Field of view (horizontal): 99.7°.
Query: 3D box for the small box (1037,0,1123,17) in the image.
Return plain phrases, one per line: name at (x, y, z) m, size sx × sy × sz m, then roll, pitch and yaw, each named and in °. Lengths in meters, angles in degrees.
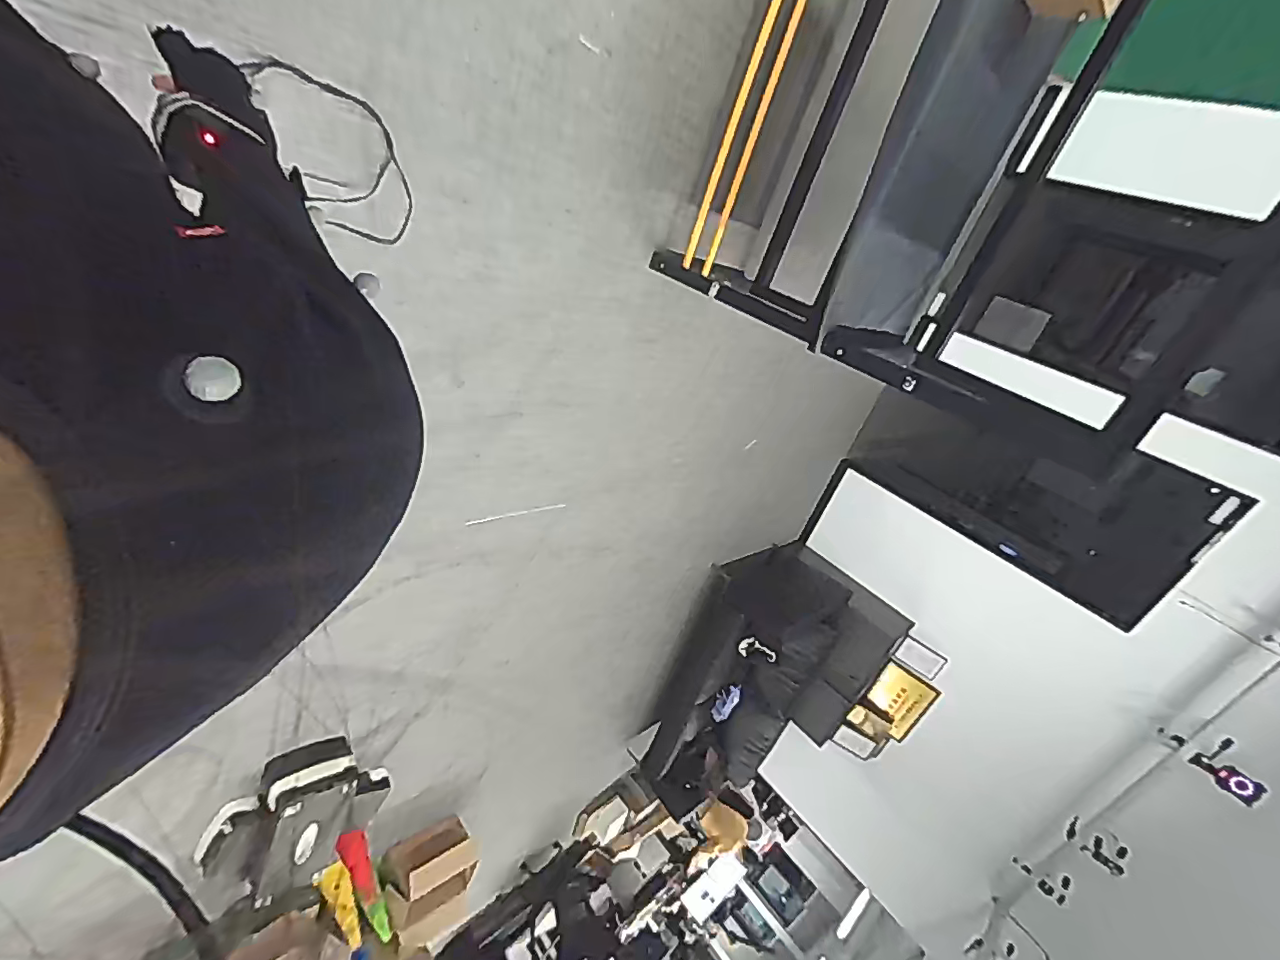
small box at (1.004, -1.166, 1.191) m, size 0.179 × 0.176 × 0.168 m, roll -12°, pitch 131°, yaw -44°
